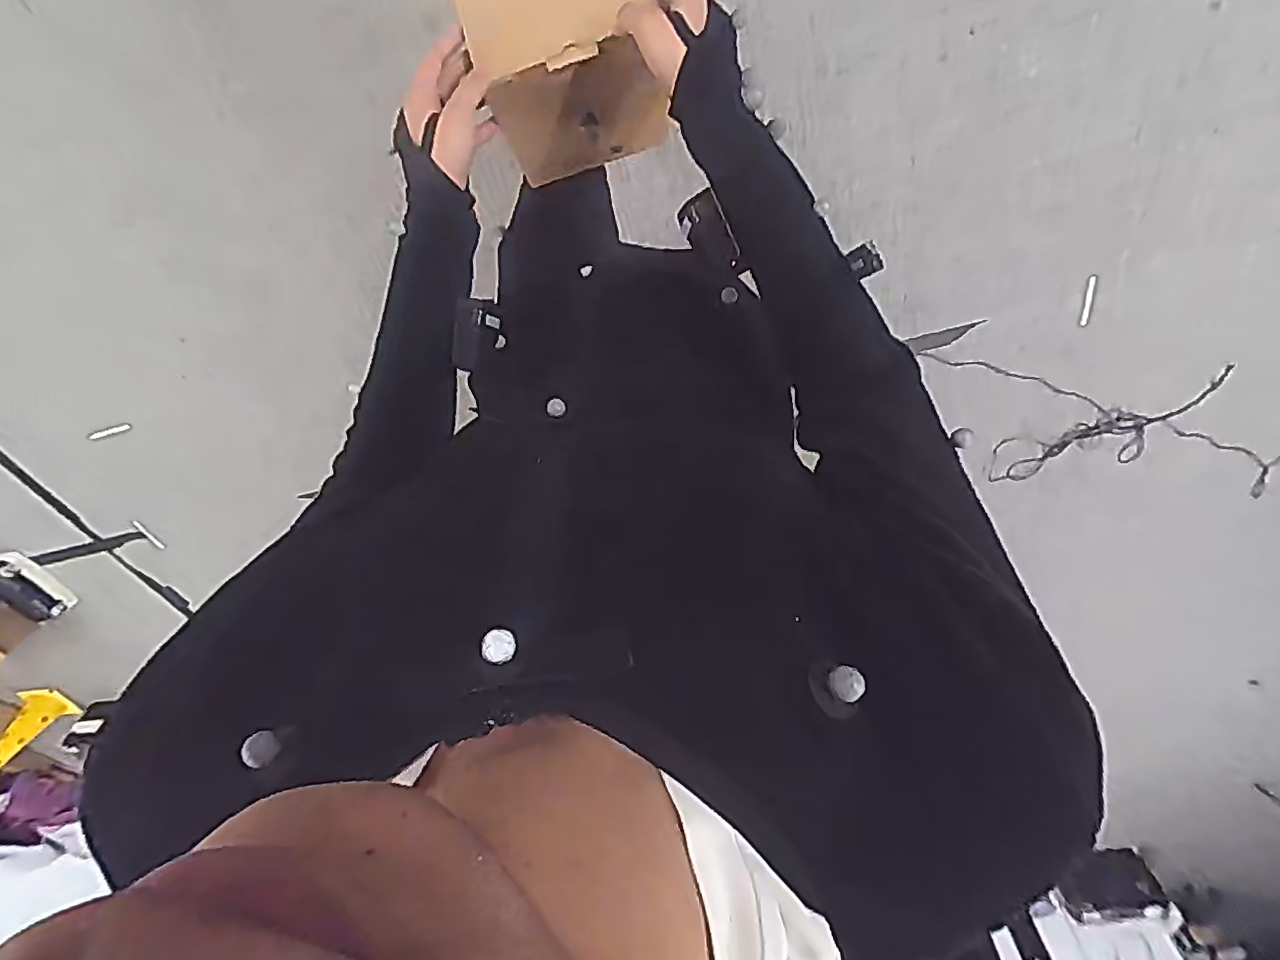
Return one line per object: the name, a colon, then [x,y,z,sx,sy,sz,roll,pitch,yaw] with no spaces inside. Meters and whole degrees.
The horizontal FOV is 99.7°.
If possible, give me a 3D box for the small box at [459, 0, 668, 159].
small box: [-0.072,-0.447,0.523,0.168,0.176,0.179,-16,91,5]
